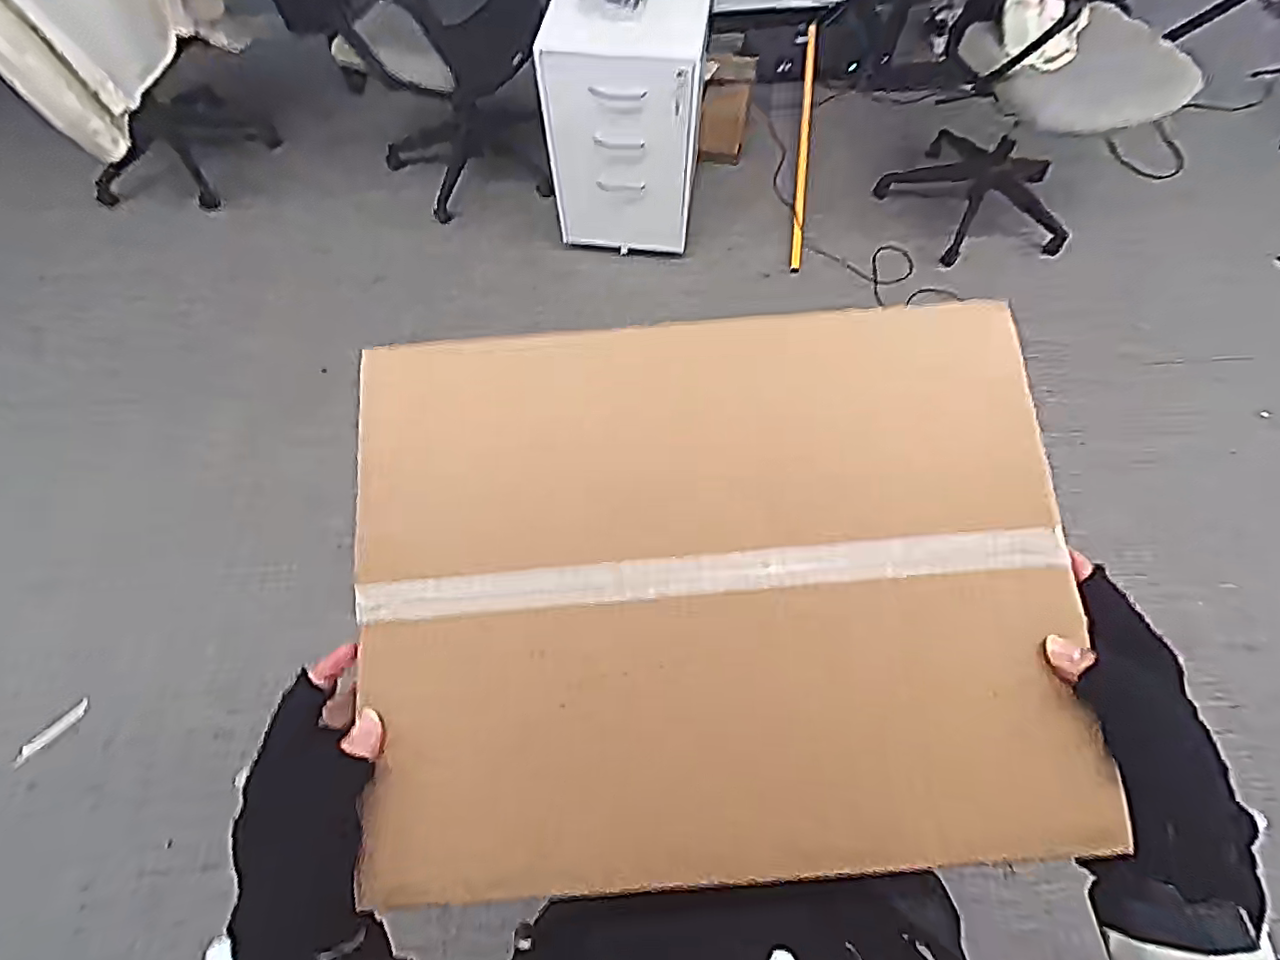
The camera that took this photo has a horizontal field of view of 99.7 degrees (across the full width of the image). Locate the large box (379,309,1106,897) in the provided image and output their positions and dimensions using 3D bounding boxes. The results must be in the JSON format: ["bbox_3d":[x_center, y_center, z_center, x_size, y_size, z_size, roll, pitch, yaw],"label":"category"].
[{"bbox_3d":[0.044,0.086,0.467,0.408,0.320,0.320,-5,80,0],"label":"large box"}]
